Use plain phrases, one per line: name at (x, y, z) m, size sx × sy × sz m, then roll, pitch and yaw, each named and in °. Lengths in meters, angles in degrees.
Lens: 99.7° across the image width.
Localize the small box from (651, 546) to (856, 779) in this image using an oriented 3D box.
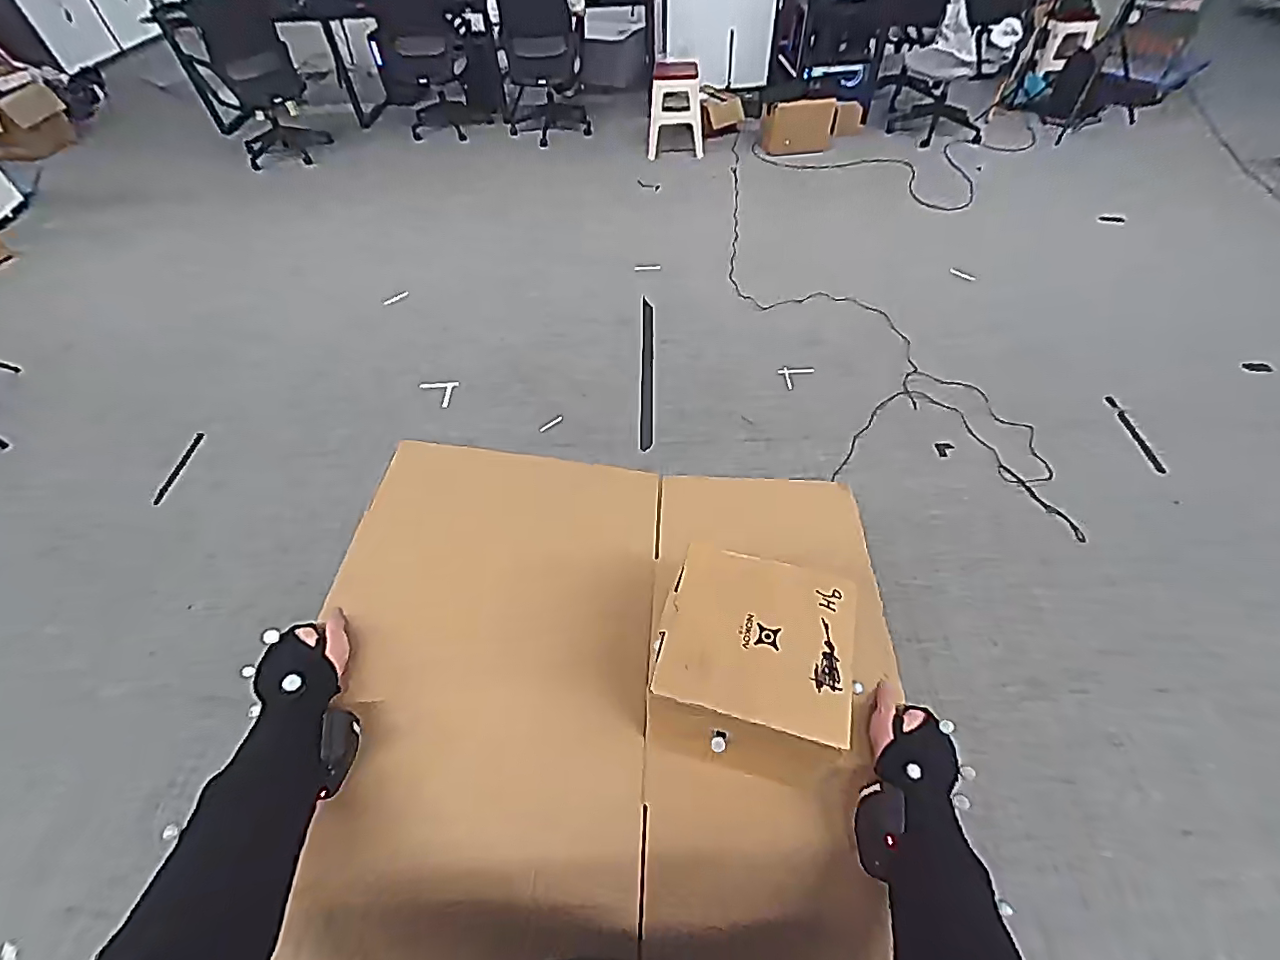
small box at (0.119, 0.199, 0.582) m, size 0.179 × 0.176 × 0.168 m, roll 11°, pitch 52°, yaw 12°
